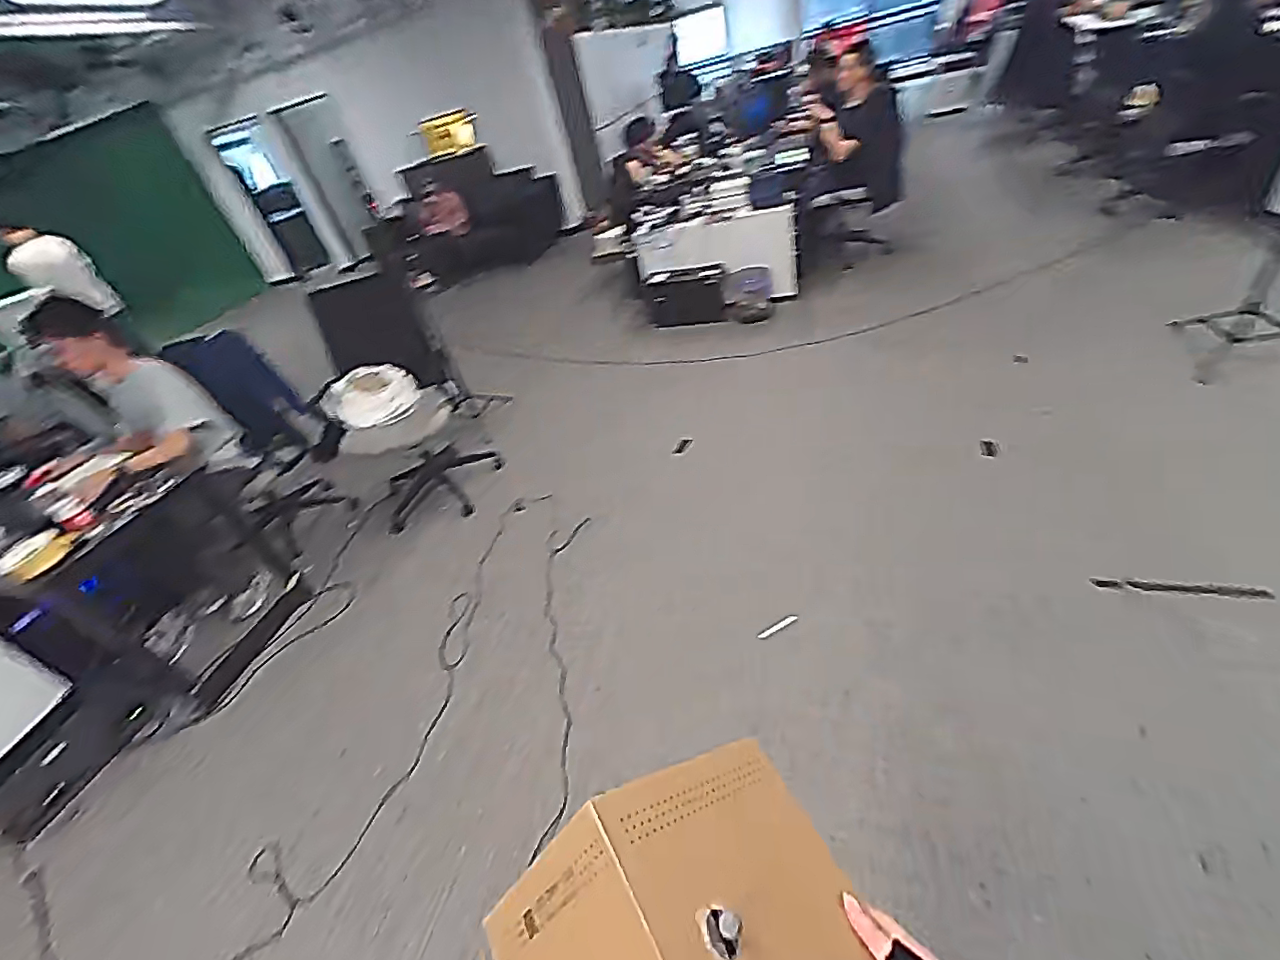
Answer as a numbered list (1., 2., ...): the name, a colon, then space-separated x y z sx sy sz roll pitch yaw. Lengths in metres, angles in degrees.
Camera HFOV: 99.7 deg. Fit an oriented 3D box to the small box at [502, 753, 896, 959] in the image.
1. small box: 0.033 0.320 0.363 0.179 0.168 0.176 9 35 -45
